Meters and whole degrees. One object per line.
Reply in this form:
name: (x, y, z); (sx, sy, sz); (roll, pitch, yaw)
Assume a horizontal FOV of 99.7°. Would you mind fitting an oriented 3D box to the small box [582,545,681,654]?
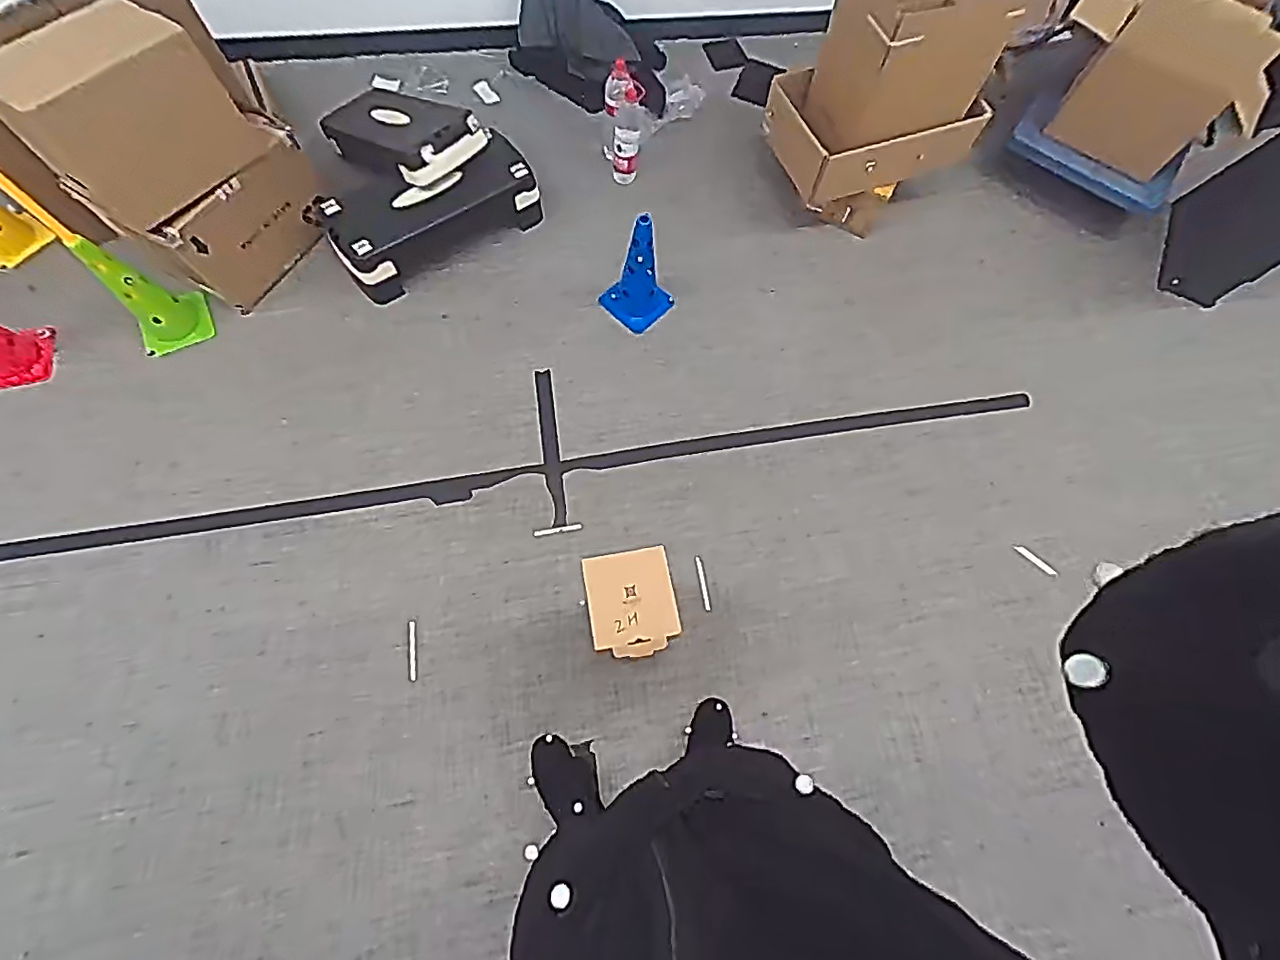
small box: (-0.025, 0.247, 1.094); (0.168, 0.176, 0.179); (-9, 71, -8)
